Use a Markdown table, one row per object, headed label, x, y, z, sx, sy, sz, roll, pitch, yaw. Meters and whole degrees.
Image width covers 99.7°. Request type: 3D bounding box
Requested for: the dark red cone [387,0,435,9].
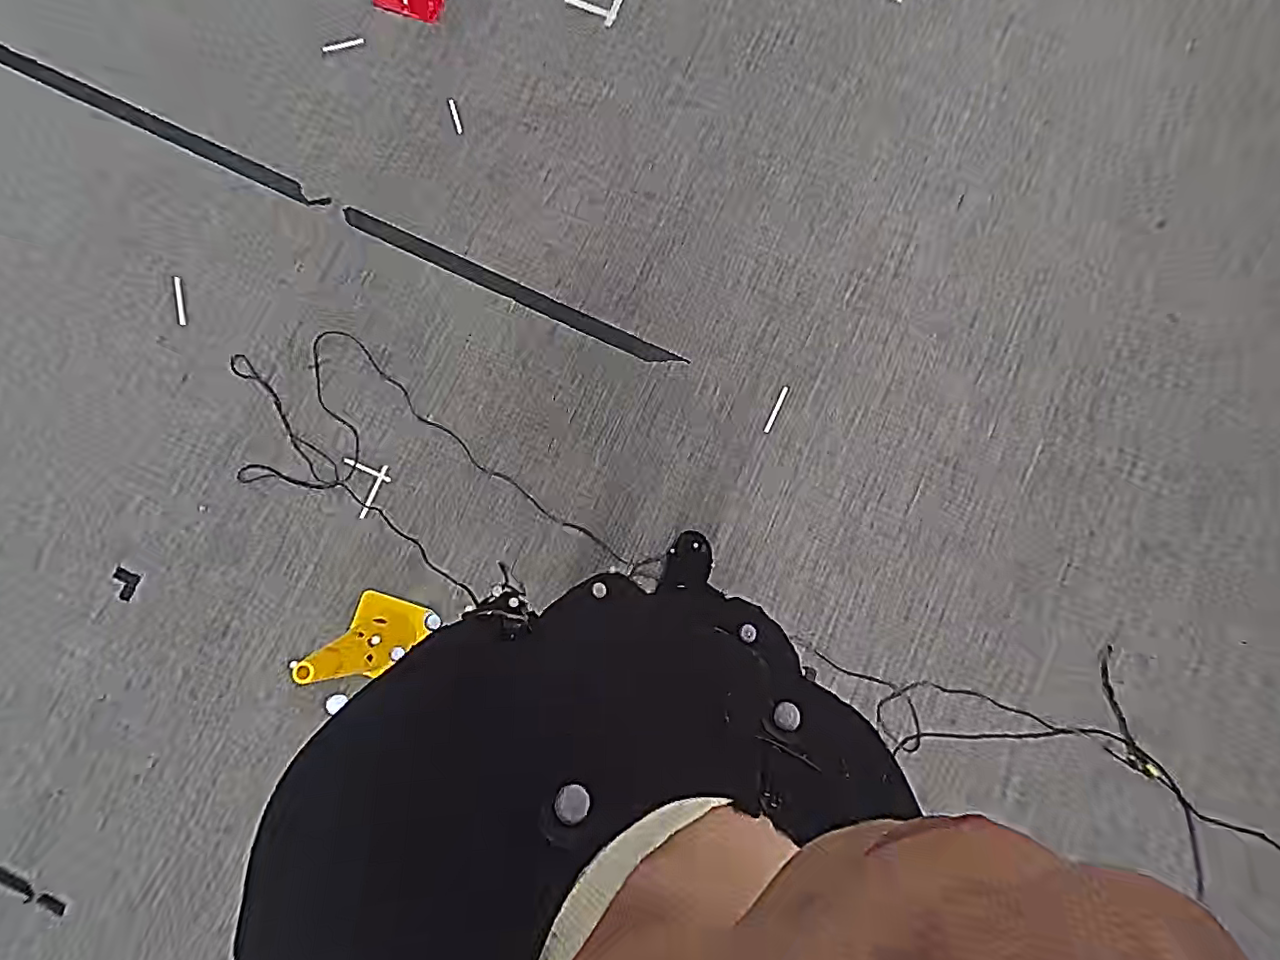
| label | x | y | z | sx | sy | sz | roll | pitch | yaw |
| --- | --- | --- | --- | --- | --- | --- | --- | --- | --- |
| dark red cone | -0.652 | -1.444 | 1.359 | 0.202 | 0.394 | 0.201 | 17 | 85 | 2 |
